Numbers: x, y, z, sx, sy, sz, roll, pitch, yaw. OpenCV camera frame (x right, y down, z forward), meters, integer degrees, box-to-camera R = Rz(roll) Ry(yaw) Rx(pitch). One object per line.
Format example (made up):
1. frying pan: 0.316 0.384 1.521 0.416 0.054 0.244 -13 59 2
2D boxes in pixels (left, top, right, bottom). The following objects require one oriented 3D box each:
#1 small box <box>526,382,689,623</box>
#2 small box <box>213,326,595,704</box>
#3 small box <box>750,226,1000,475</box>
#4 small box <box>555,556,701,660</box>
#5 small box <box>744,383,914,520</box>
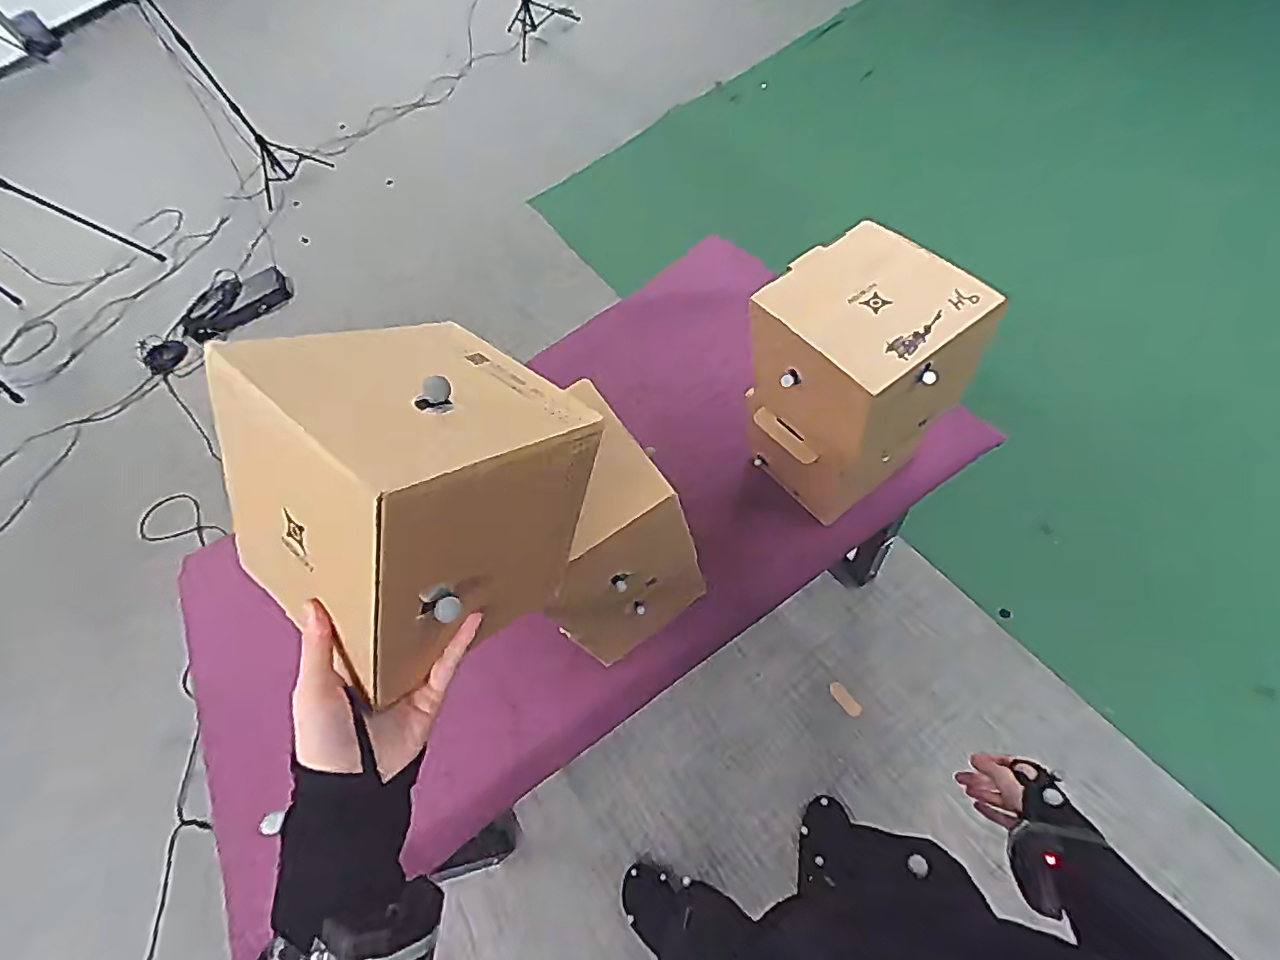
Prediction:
1. small box: -0.064 0.036 0.586 0.168 0.176 0.179 -32 59 -5
2. small box: -0.154 0.006 0.381 0.168 0.179 0.176 34 35 21
3. small box: 0.243 -0.138 0.605 0.168 0.176 0.179 -35 59 -6
4. small box: -0.036 0.115 0.727 0.179 0.176 0.168 -35 59 -7
5. small box: 0.269 -0.073 0.755 0.179 0.176 0.168 -37 60 -8
